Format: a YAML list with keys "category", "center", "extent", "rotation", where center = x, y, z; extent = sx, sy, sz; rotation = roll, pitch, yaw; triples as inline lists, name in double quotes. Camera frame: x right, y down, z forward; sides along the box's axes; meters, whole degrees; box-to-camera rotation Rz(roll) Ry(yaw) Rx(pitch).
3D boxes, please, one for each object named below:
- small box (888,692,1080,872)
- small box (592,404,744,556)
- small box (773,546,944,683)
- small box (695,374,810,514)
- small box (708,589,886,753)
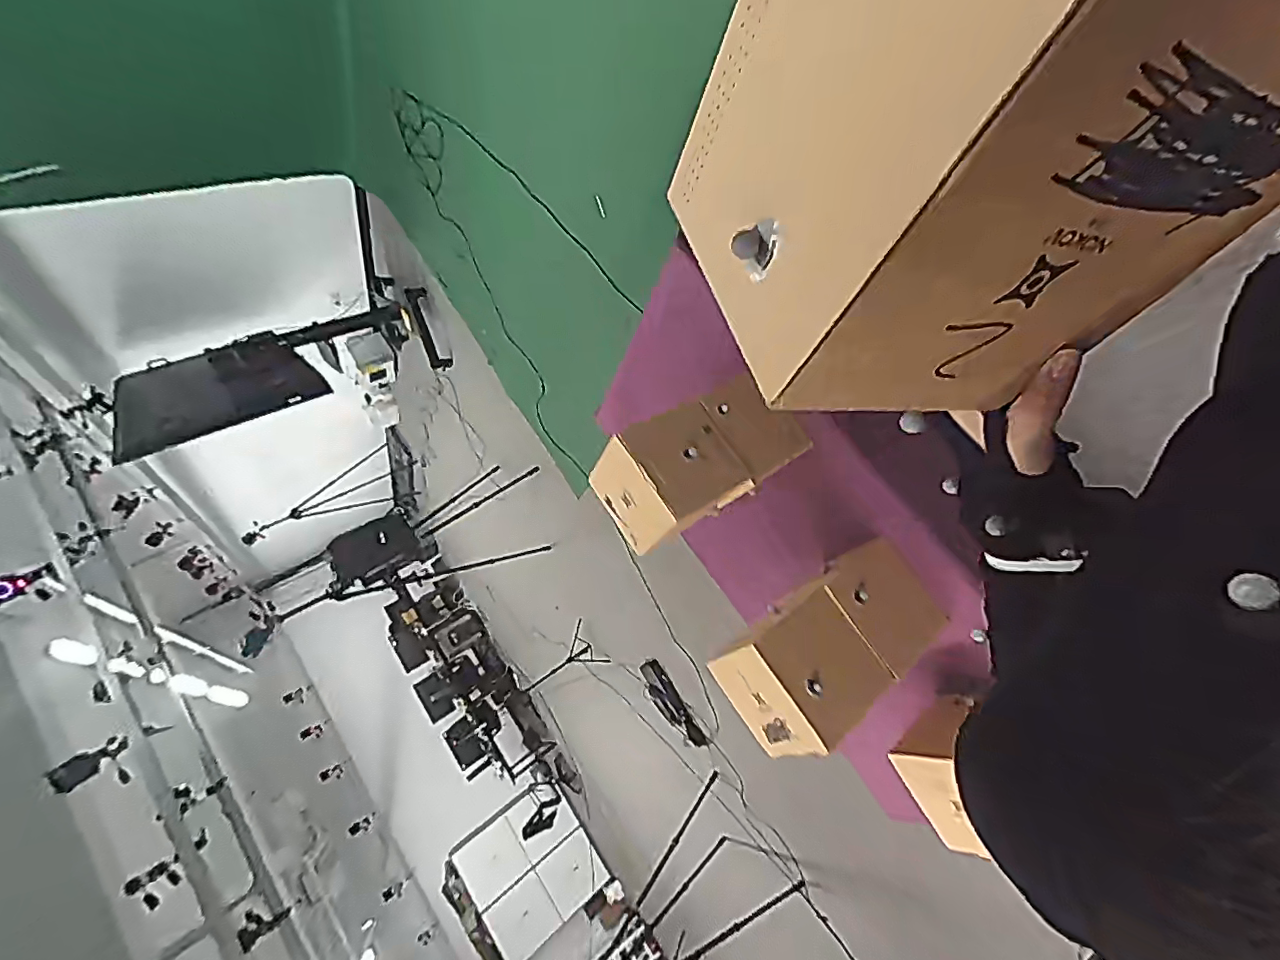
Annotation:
- category: "small box"
  center: [0.551, 0.468, 0.868]
  extent: [0.179, 0.176, 0.168]
  rotation: [59, 149, 7]
- category: "small box"
  center: [0.050, -0.002, 0.915]
  extent: [0.168, 0.176, 0.179]
  rotation: [56, 149, 10]
- category: "small box"
  center: [0.376, 0.234, 0.939]
  extent: [0.179, 0.176, 0.168]
  rotation: [56, 150, 10]
- category: "small box"
  center: [0.176, -0.067, 0.998]
  extent: [0.179, 0.176, 0.168]
  rotation: [58, 149, 7]
- category: "small box"
  center: [0.248, 0.304, 0.862]
  extent: [0.179, 0.176, 0.168]
  rotation: [55, 149, 13]
